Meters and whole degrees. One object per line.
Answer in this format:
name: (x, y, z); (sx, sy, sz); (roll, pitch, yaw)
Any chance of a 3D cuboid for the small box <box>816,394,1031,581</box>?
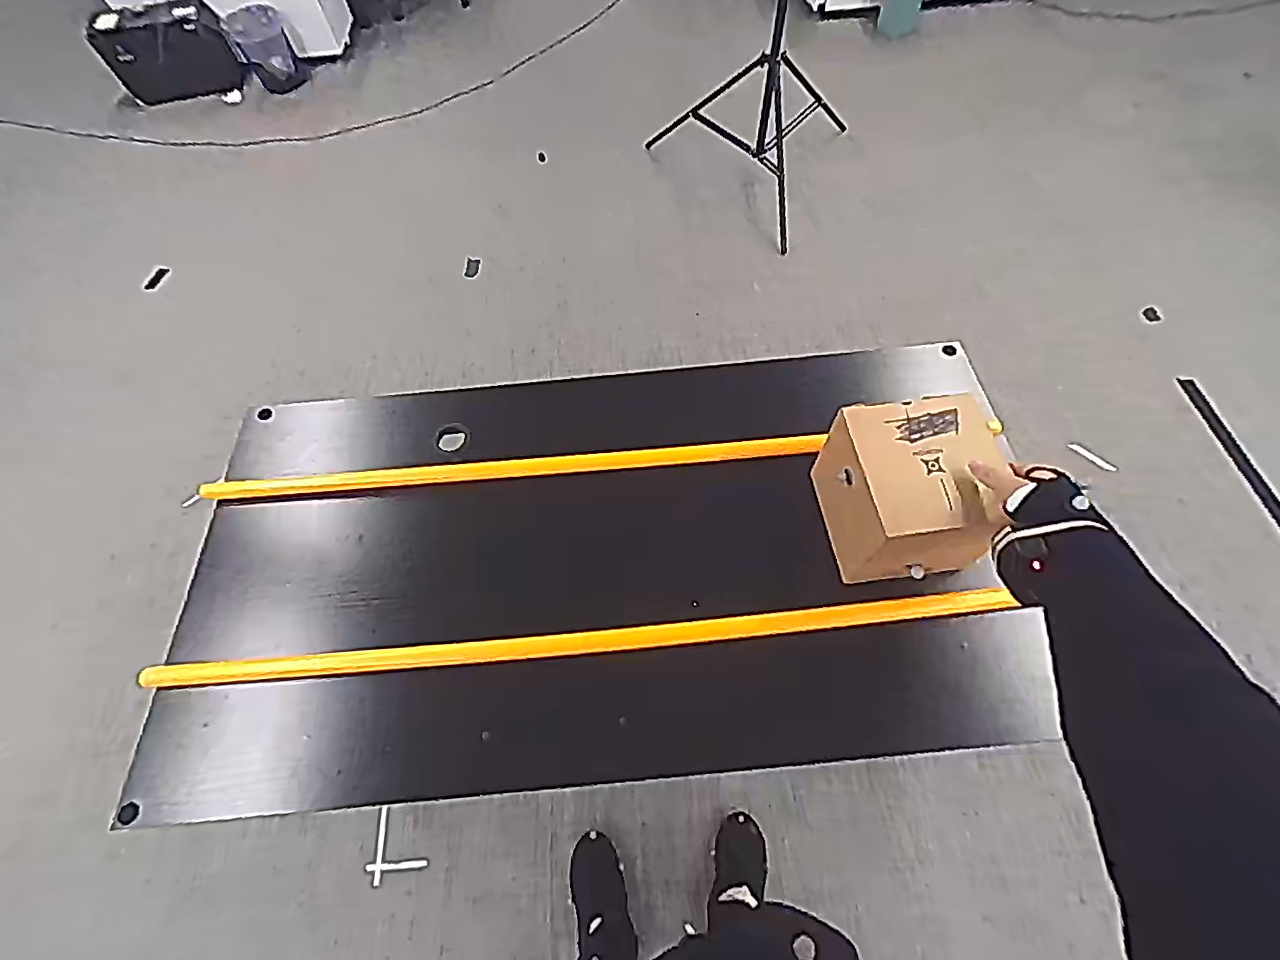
small box: (0.342, 0.015, 0.698); (0.168, 0.176, 0.179); (-7, 62, 0)
